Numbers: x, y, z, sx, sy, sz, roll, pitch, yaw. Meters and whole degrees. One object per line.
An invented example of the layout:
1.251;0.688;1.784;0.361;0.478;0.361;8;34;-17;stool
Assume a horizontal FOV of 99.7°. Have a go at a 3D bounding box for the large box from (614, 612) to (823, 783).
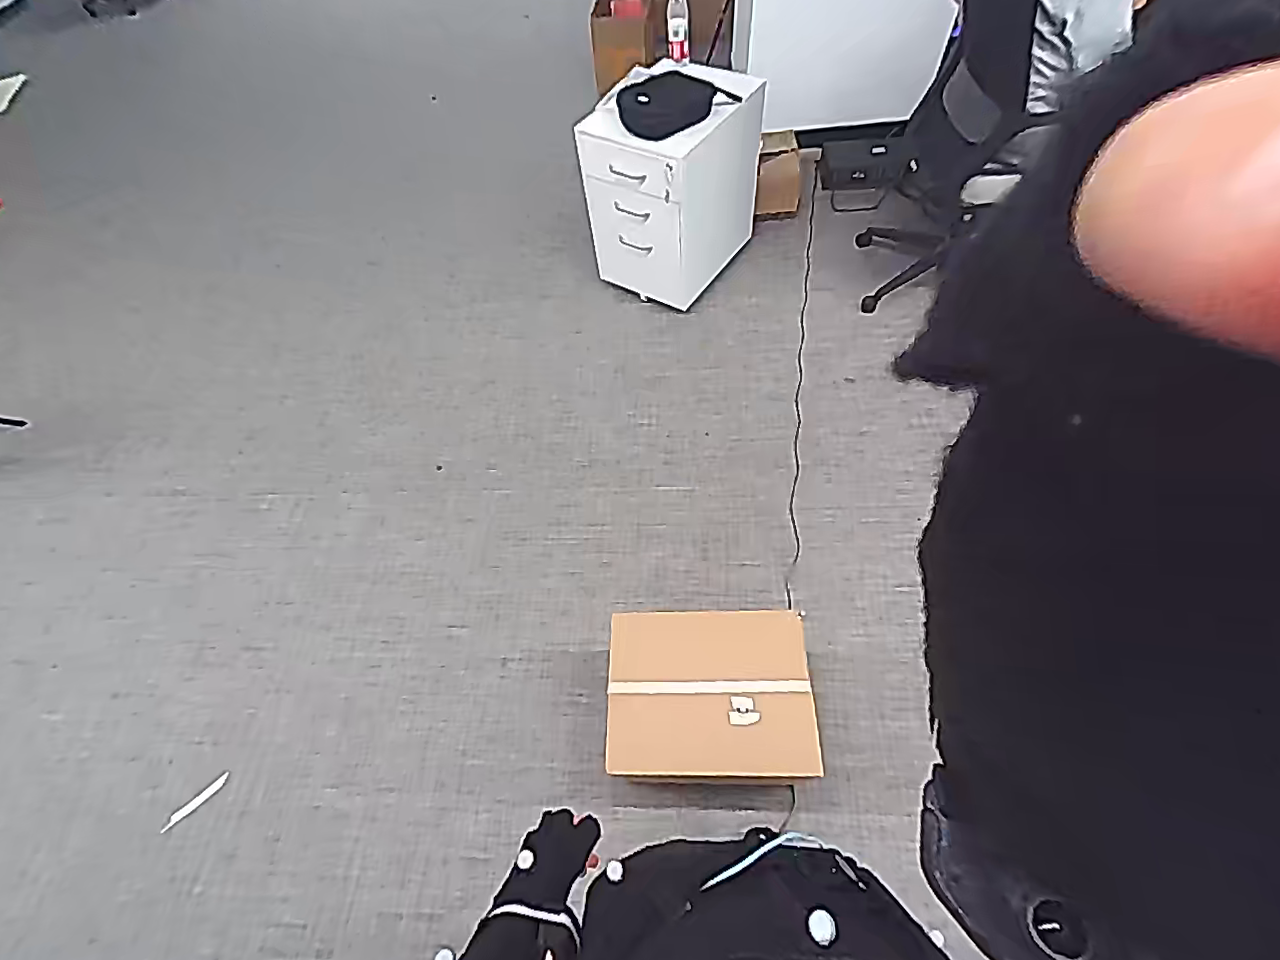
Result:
0.157;0.501;1.224;0.408;0.320;0.320;-2;59;4;large box
